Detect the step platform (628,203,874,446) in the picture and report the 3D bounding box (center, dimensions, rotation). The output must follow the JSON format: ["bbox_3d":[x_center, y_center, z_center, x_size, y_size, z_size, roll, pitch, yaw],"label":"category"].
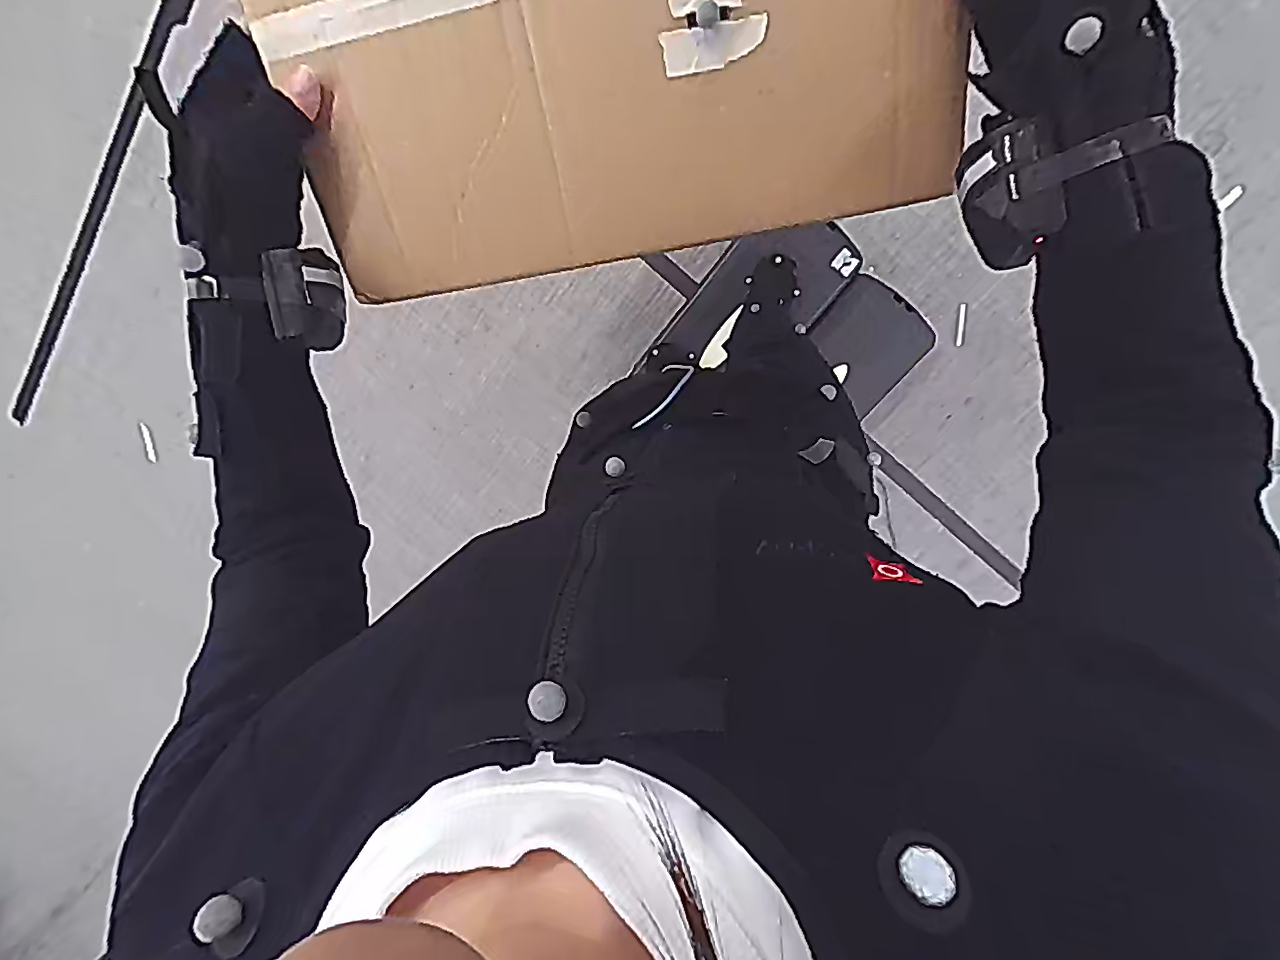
[{"bbox_3d":[0.265,-0.417,1.407,0.286,0.204,0.684,38,106,-5],"label":"step platform"}]

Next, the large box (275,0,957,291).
[{"bbox_3d":[-0.015,-0.362,0.441,0.408,0.320,0.320,-6,115,9],"label":"large box"}]
